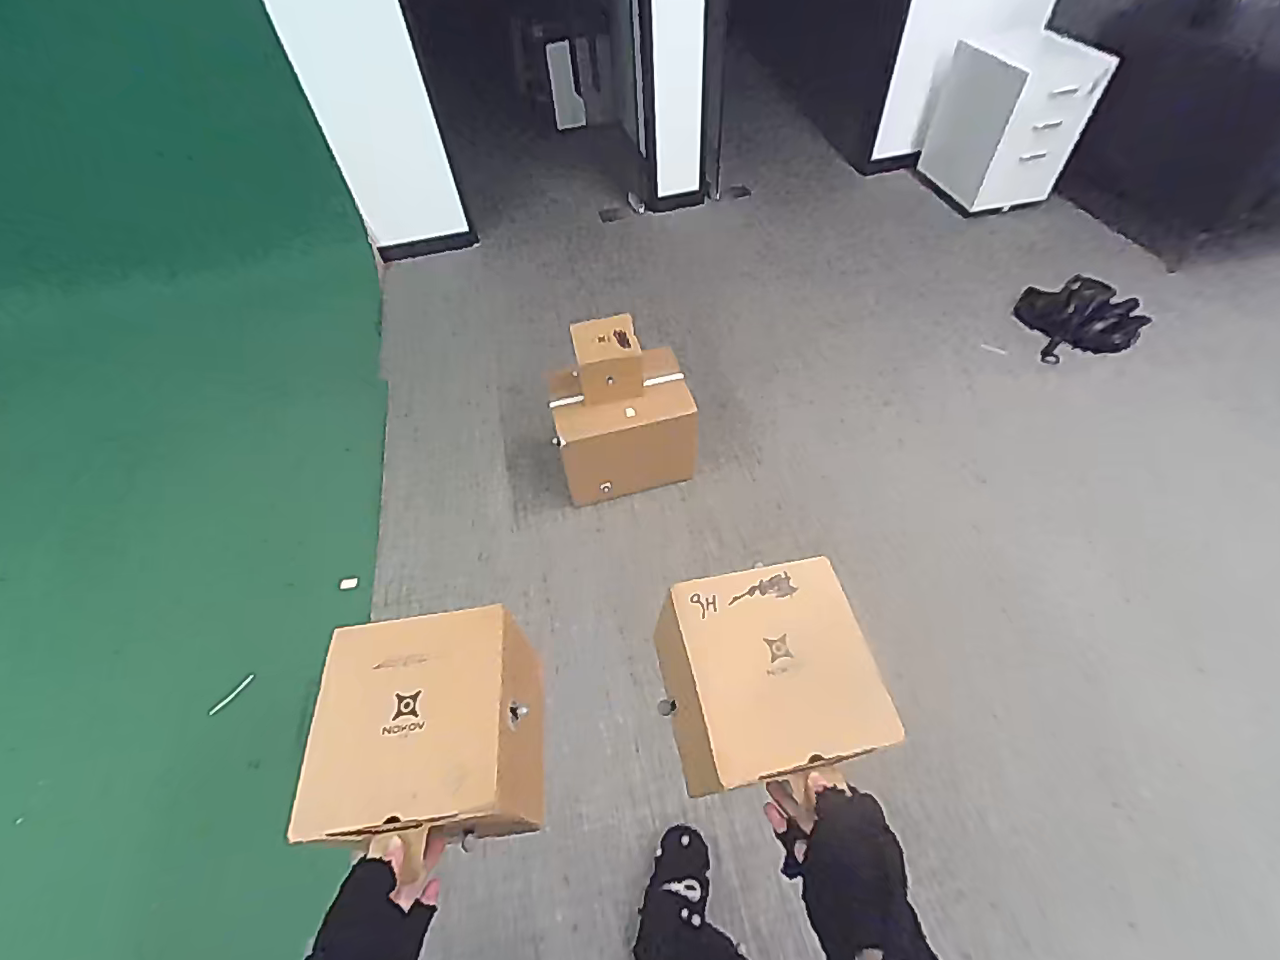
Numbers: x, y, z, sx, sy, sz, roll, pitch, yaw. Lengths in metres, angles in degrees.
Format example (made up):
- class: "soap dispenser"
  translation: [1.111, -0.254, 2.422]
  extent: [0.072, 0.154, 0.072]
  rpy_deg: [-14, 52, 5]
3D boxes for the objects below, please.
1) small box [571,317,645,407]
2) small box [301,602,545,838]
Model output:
- class: "small box"
  translation: [-0.090, -0.334, 1.542]
  extent: [0.179, 0.176, 0.168]
  rpy_deg: [-14, 59, -7]
- class: "small box"
  translation: [-0.195, 0.248, 0.546]
  extent: [0.168, 0.176, 0.179]
  rpy_deg: [-9, 52, -1]
